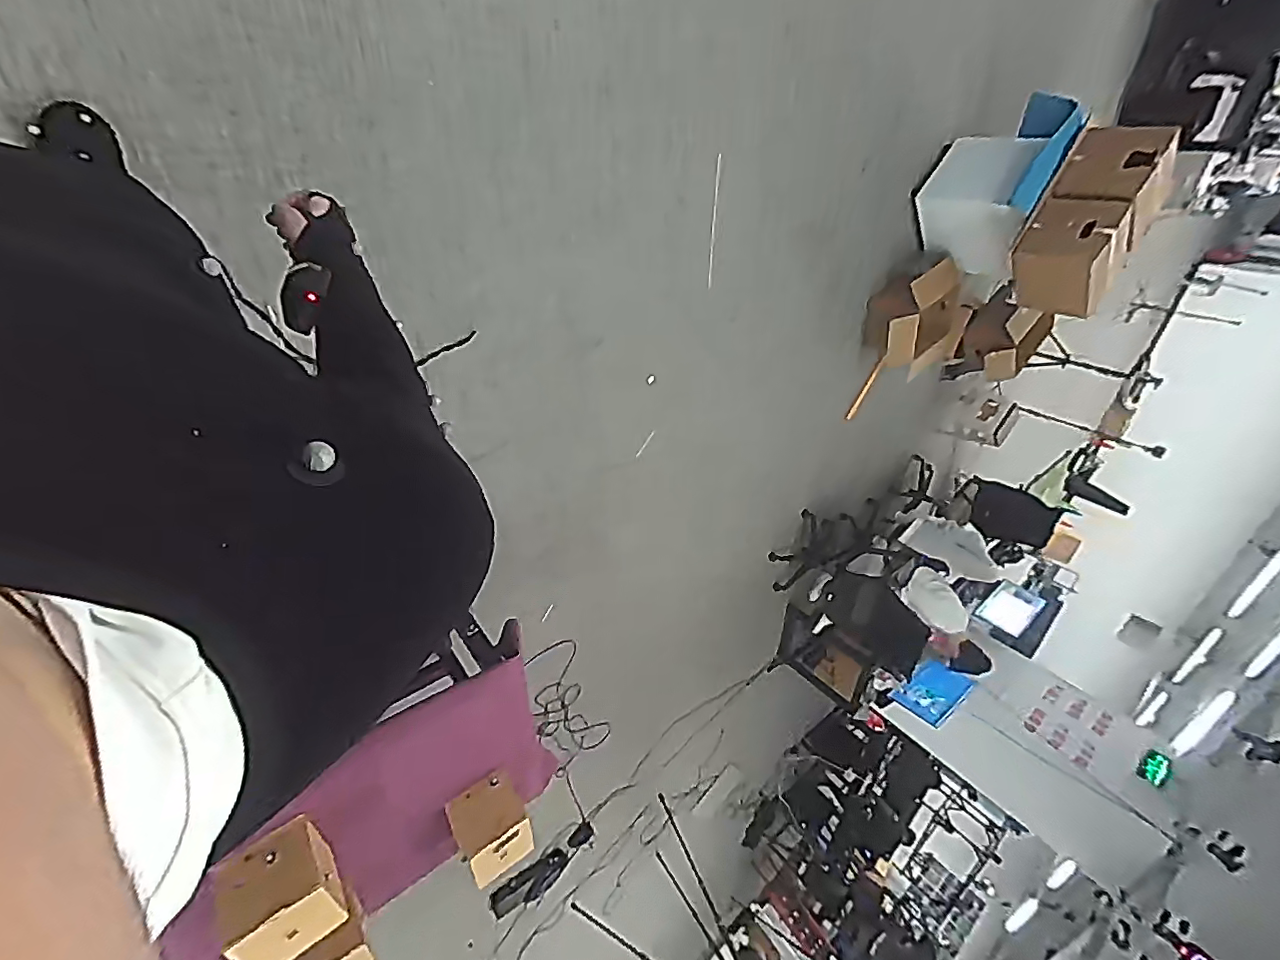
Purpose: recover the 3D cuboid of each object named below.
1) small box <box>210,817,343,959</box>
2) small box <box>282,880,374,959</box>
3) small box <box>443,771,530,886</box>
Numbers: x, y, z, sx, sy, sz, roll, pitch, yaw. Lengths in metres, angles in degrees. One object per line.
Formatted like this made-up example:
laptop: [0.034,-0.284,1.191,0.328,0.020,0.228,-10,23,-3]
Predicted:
small box: [-0.730,0.830,1.090,0.168,0.176,0.179,-25,131,-31]
small box: [-0.737,1.081,1.250,0.168,0.176,0.179,-19,128,-34]
small box: [-0.414,0.927,1.456,0.168,0.176,0.179,-22,130,-32]
